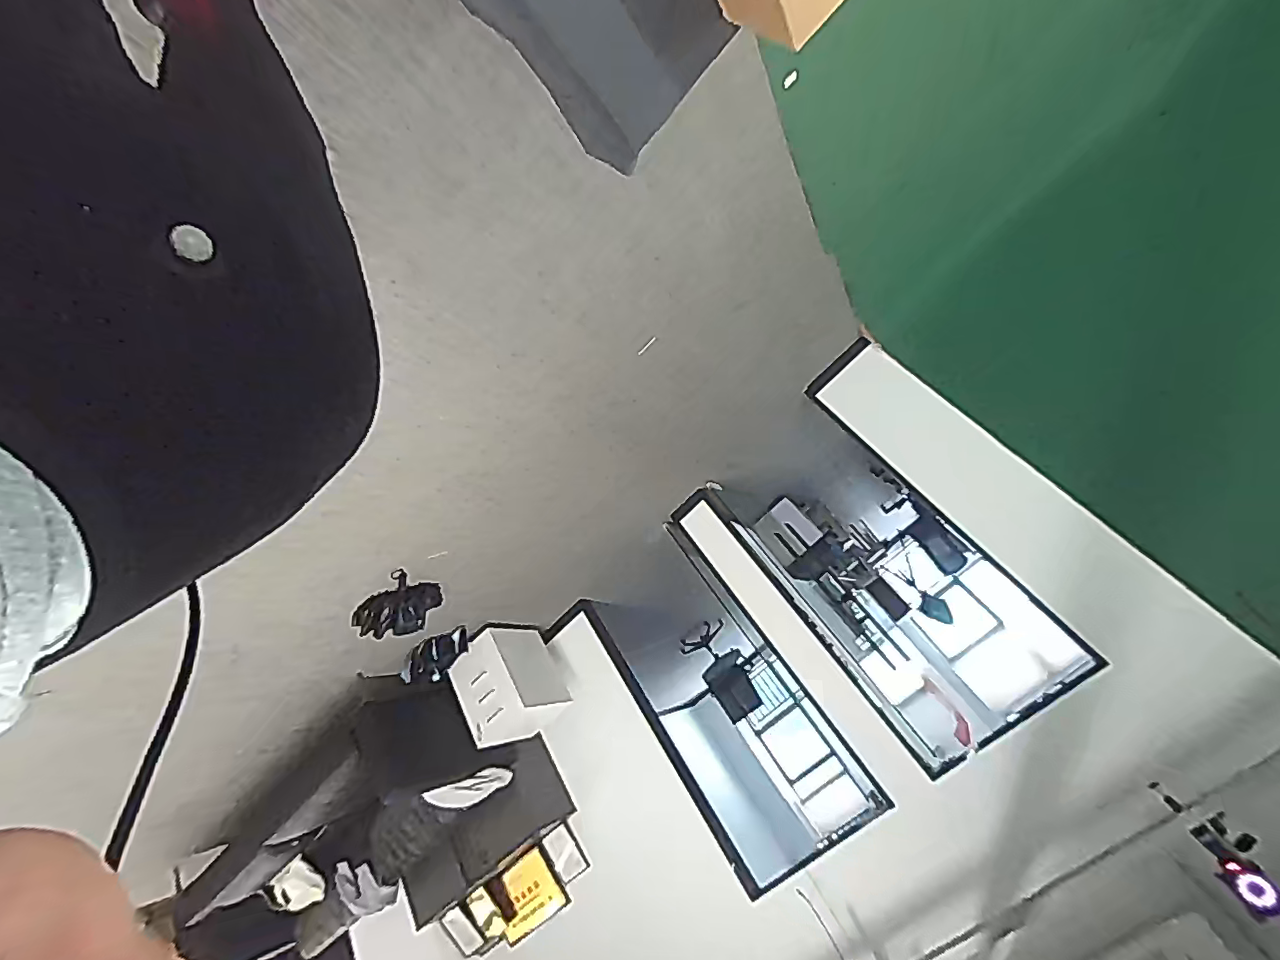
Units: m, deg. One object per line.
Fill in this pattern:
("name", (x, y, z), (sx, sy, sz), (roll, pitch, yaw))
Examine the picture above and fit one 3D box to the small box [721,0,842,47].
("small box", (0.181, -0.700, 0.665), (0.168, 0.176, 0.179), (-43, 151, 14))
